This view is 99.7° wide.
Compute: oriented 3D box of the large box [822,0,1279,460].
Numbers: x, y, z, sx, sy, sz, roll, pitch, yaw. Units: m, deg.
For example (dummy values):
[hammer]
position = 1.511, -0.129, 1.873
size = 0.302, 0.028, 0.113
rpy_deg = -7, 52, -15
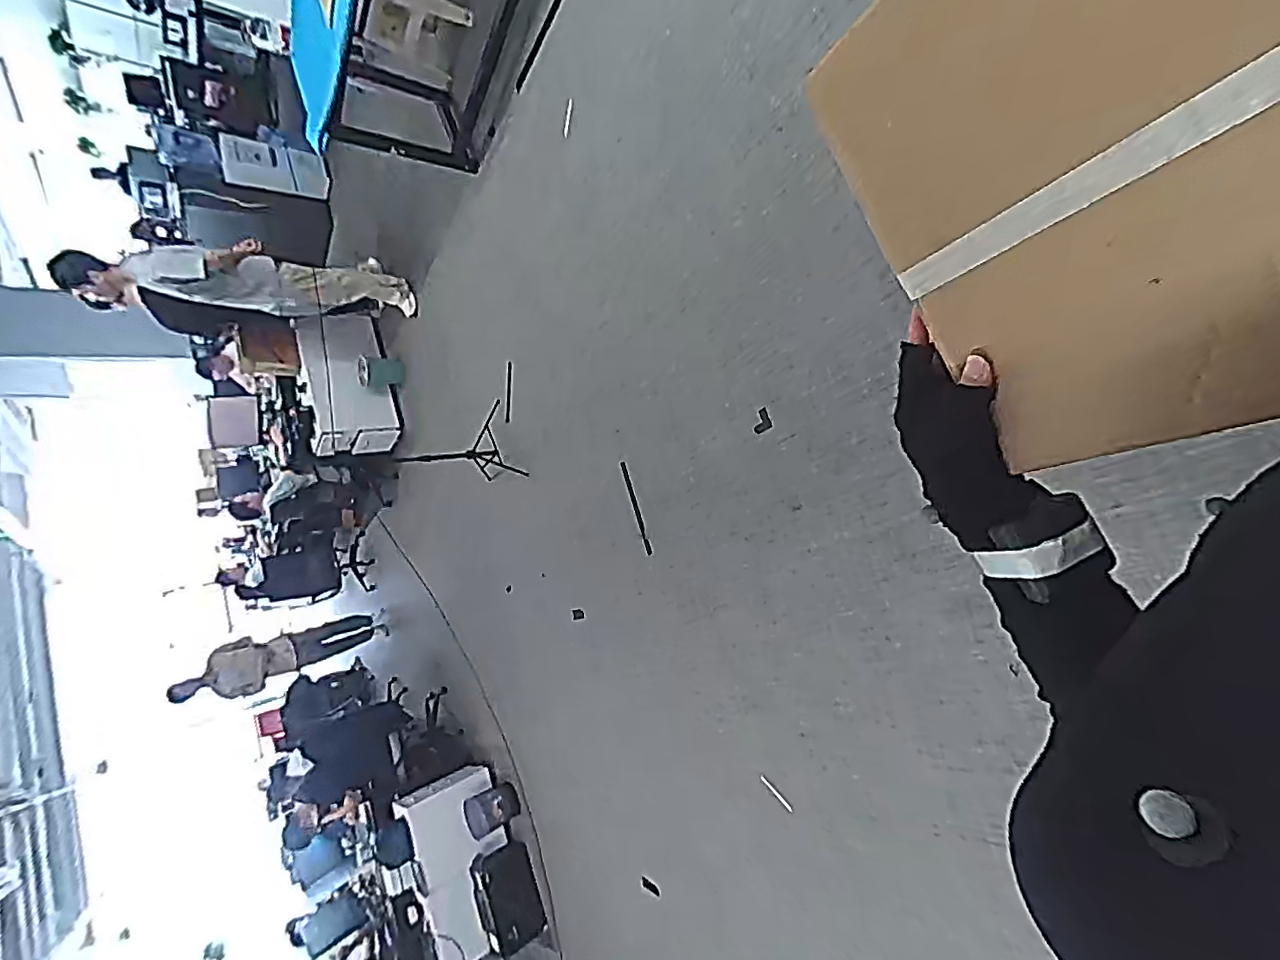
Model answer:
[large box]
position = 0.404, -0.257, 0.314
size = 0.408, 0.320, 0.320
rpy_deg = -24, 99, 55
